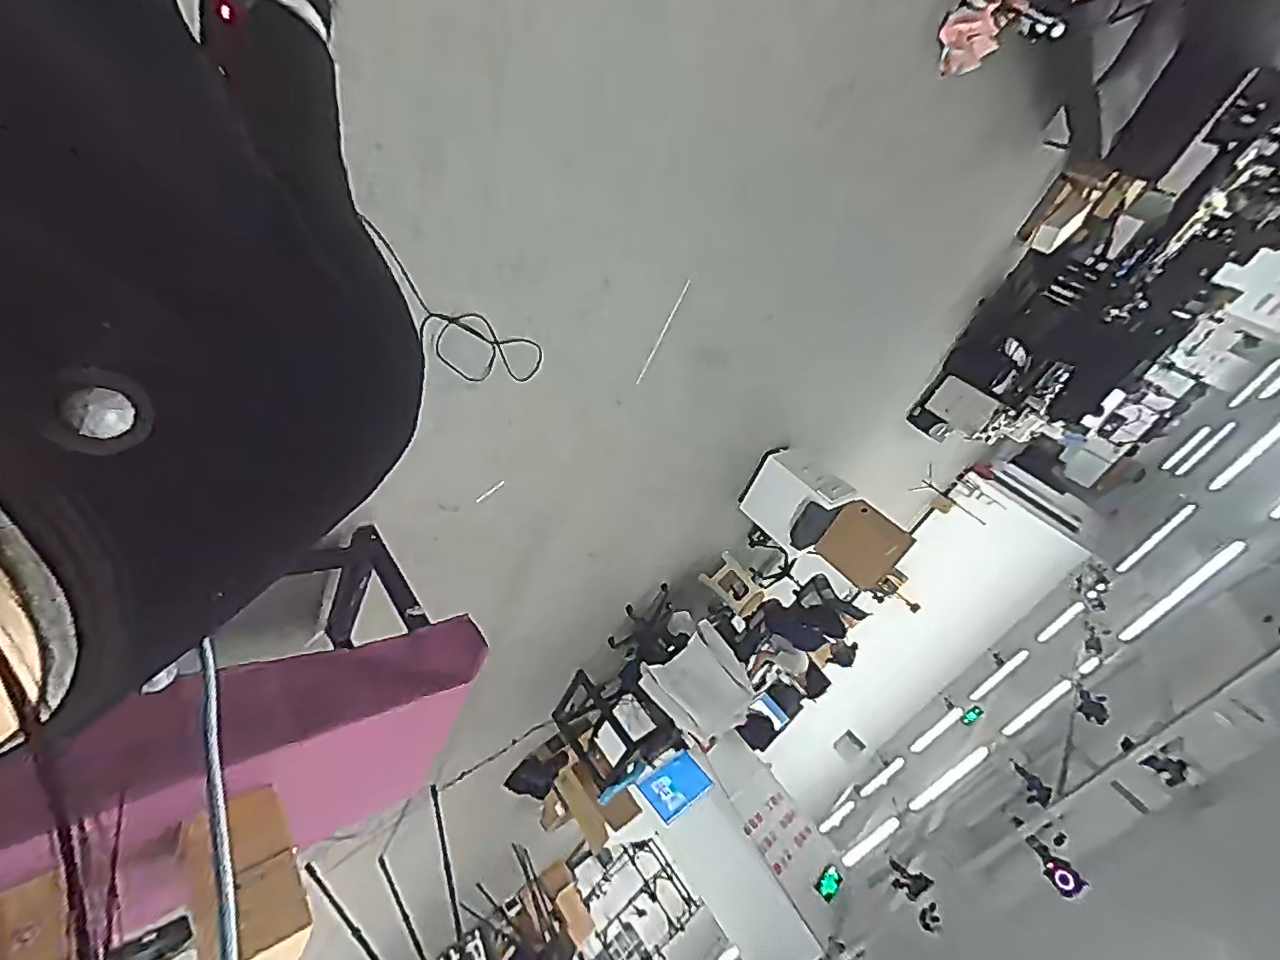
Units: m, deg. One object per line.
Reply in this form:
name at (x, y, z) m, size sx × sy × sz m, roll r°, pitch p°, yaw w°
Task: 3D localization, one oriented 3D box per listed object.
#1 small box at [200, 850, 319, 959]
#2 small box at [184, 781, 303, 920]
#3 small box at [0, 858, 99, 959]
small box at (-0.807, 0.927, 1.141) m, size 0.168 × 0.176 × 0.179 m, roll -3°, pitch 131°, yaw -48°
small box at (-0.901, 0.827, 1.227) m, size 0.179 × 0.176 × 0.168 m, roll -2°, pitch 130°, yaw -49°
small box at (-1.109, 0.836, 0.974) m, size 0.179 × 0.176 × 0.168 m, roll -7°, pitch 133°, yaw -48°
